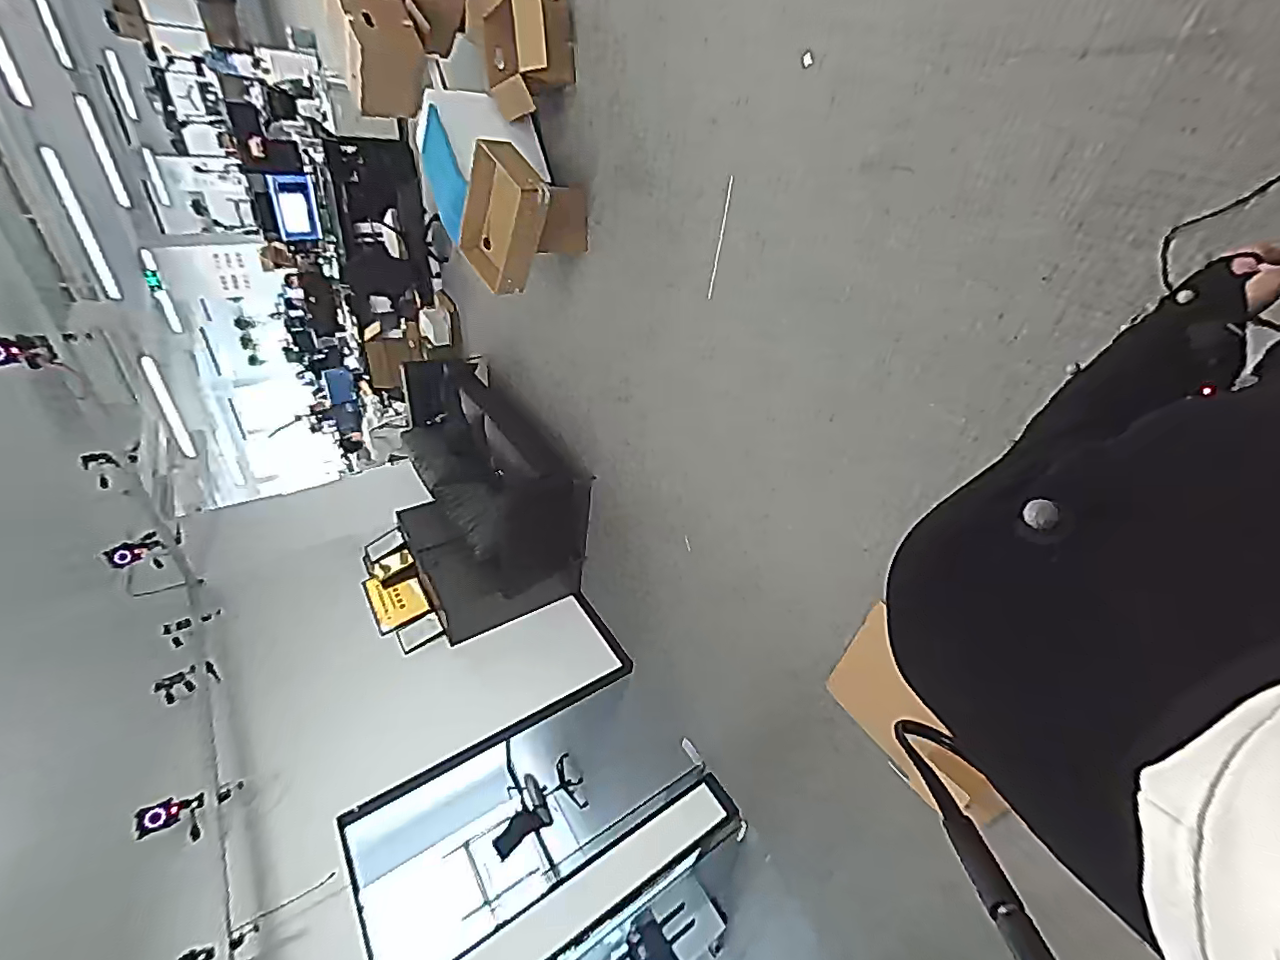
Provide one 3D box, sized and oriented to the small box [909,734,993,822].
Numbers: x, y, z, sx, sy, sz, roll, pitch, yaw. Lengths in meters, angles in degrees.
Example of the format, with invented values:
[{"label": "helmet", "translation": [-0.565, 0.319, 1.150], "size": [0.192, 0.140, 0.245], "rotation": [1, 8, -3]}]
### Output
[{"label": "small box", "translation": [1.079, 1.027, 1.871], "size": [0.168, 0.176, 0.179], "rotation": [41, 137, 42]}]
